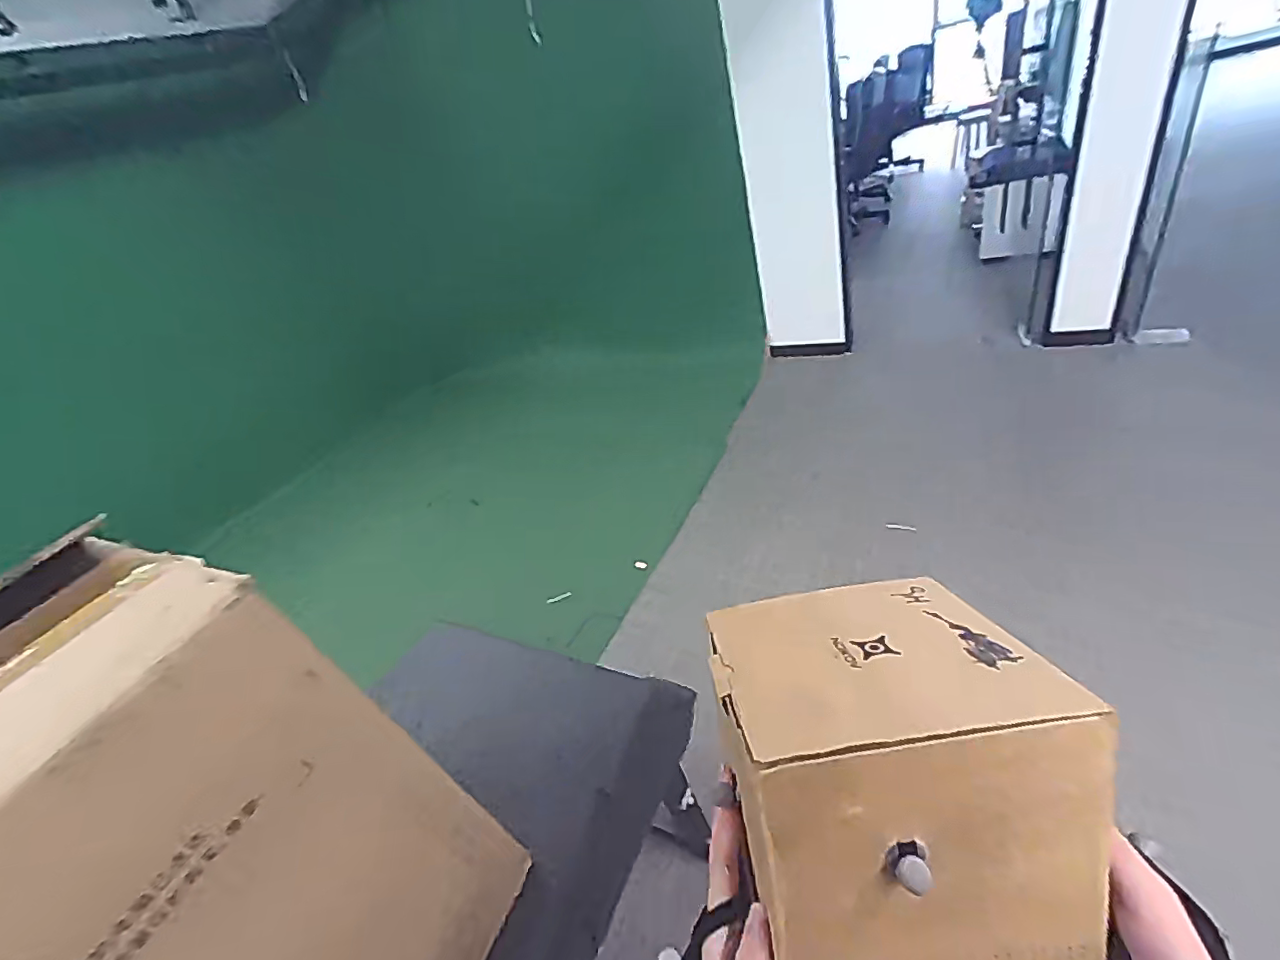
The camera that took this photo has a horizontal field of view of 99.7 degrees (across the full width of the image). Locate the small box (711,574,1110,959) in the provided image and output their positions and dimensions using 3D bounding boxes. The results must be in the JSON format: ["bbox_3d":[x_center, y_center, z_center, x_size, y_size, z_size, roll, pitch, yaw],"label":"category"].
[{"bbox_3d":[0.154,0.182,0.351,0.179,0.176,0.168,-9,13,1],"label":"small box"}]
